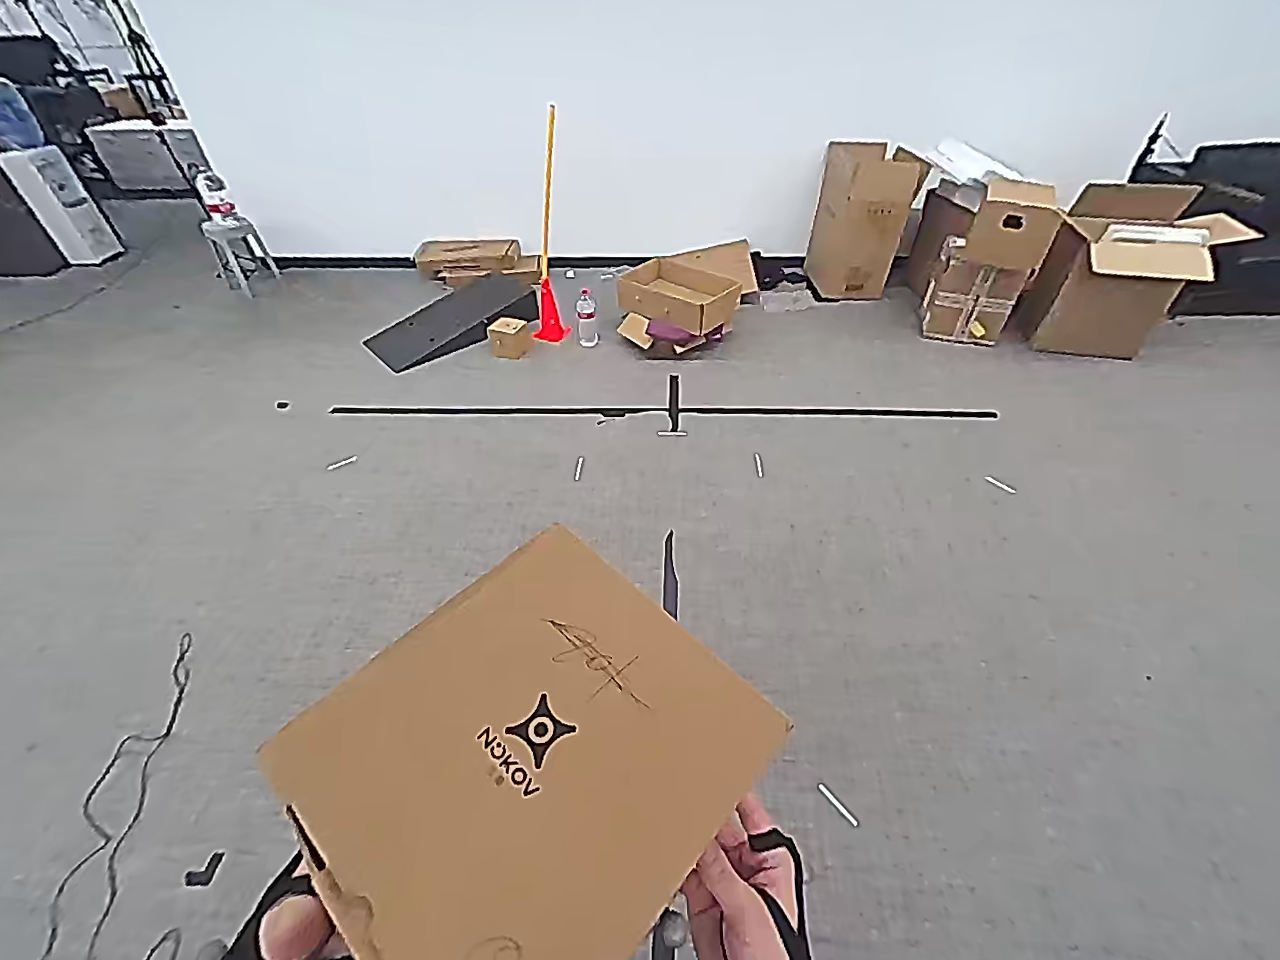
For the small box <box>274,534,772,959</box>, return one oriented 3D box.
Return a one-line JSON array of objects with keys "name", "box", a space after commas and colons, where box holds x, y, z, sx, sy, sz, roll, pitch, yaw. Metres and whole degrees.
[{"name": "small box", "box": [-0.054, 0.173, 0.314, 0.168, 0.176, 0.179, 36, 55, 23]}]
